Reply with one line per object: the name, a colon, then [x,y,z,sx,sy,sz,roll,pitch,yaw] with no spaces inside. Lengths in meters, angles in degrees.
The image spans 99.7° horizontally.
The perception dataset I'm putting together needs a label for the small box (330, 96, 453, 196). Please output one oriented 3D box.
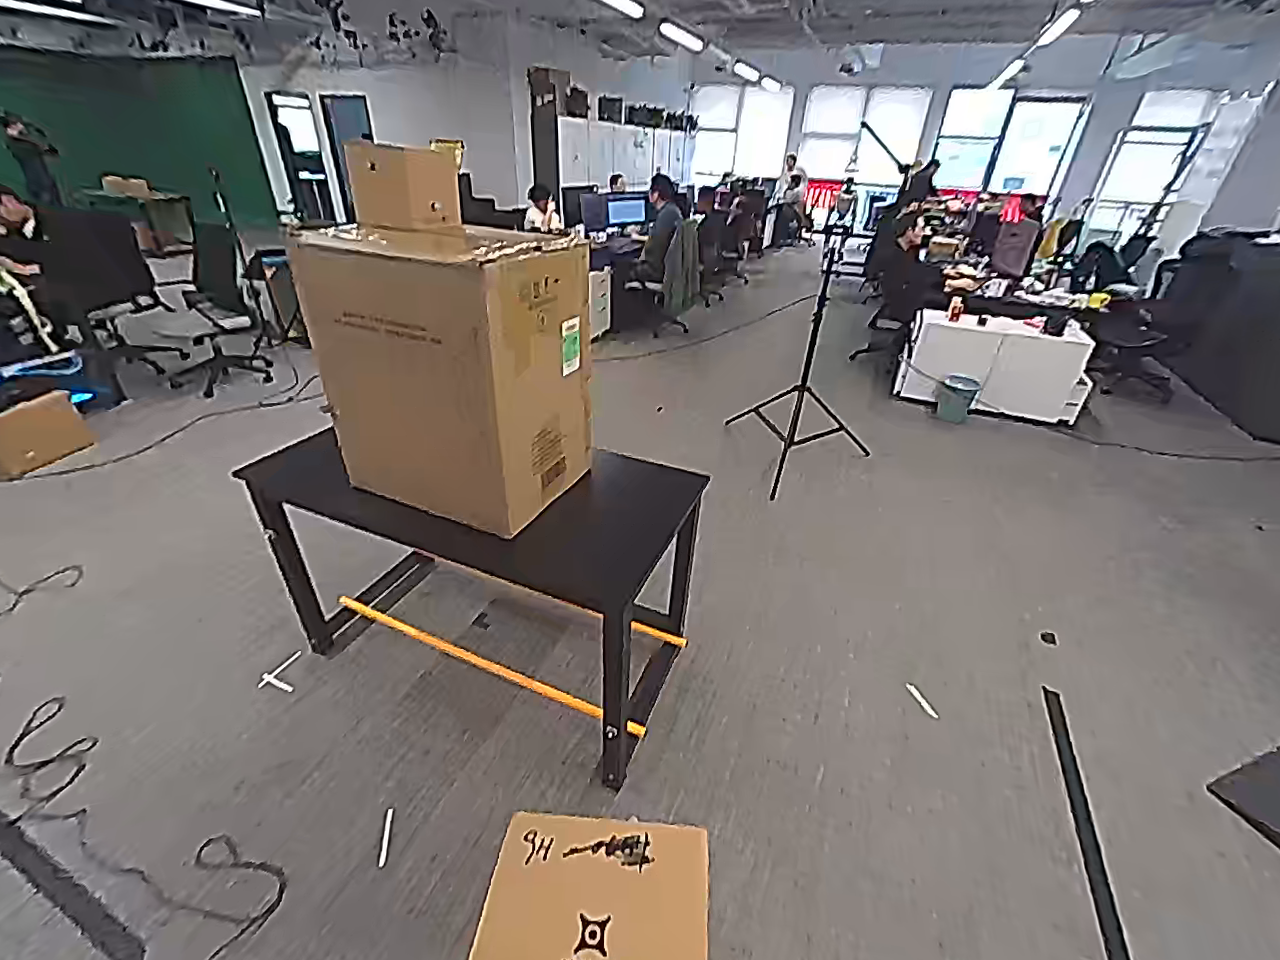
small box: [-0.538,-0.728,1.188,0.179,0.176,0.168,17,32,18]
